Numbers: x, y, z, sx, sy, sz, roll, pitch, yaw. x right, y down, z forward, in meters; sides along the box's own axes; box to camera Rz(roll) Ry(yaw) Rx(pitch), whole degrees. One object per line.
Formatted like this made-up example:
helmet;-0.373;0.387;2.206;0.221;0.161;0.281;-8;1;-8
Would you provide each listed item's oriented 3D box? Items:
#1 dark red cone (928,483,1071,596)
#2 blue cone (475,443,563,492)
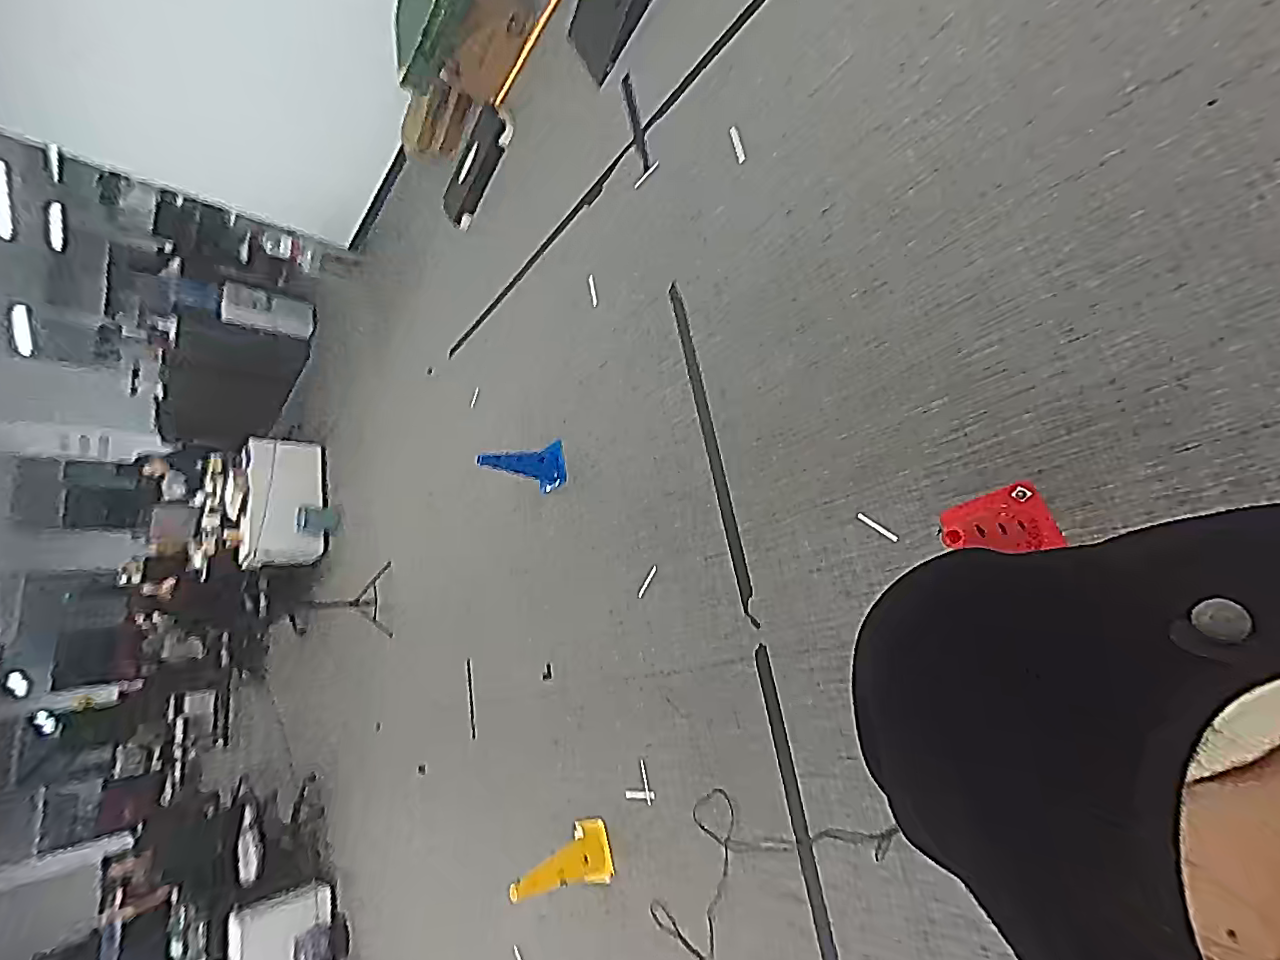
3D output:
dark red cone;0.650;0.120;1.048;0.201;0.394;0.202;-36;61;39
blue cone;-0.529;-0.068;2.342;0.192;0.380;0.193;-26;68;43
